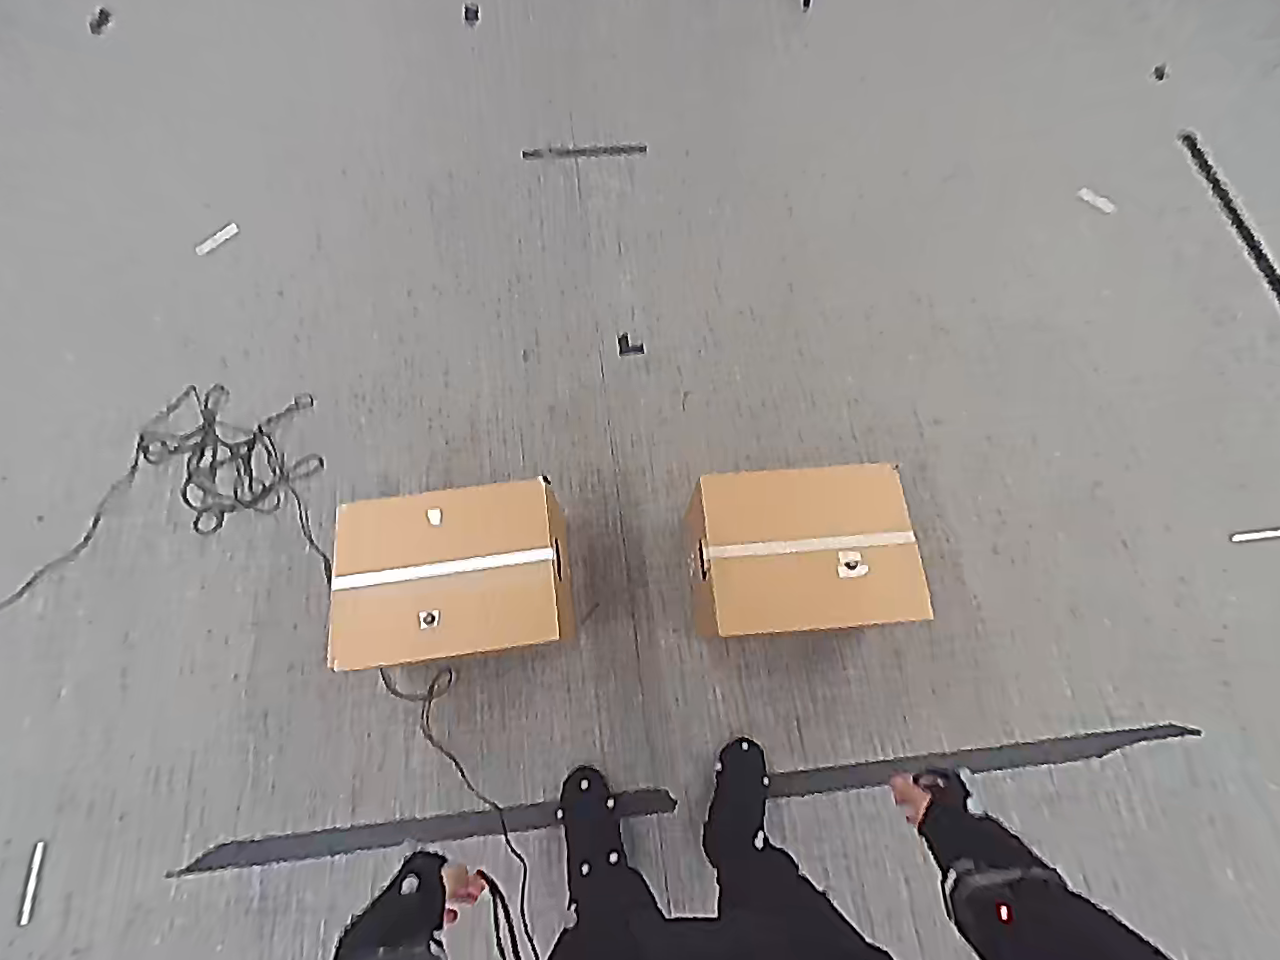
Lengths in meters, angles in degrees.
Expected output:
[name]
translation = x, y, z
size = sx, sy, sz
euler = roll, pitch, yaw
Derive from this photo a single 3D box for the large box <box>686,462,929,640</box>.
[large box]
translation = 0.329, 0.169, 1.188
size = 0.408, 0.320, 0.320
euler = -3, 72, -3
